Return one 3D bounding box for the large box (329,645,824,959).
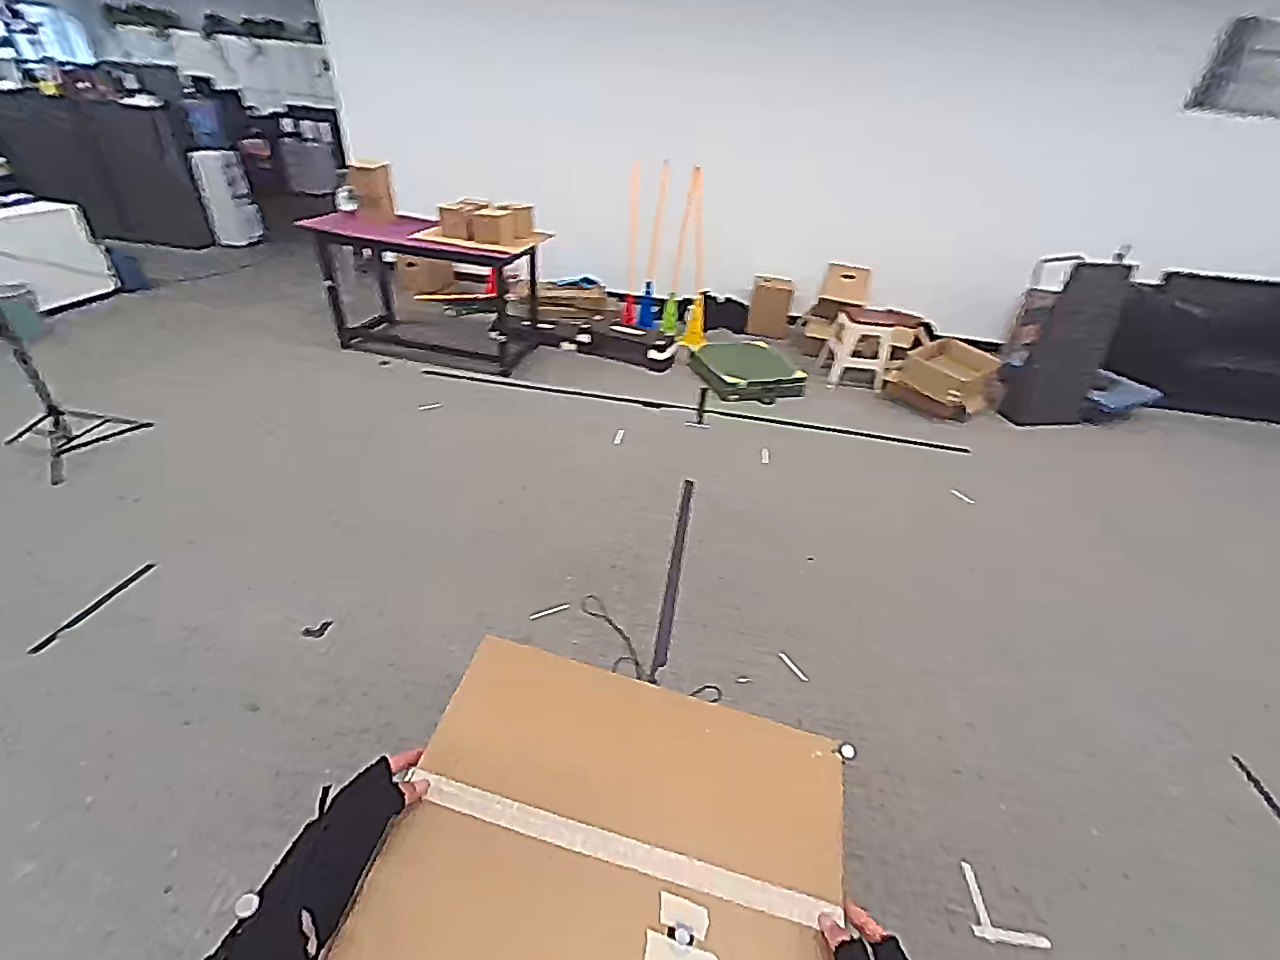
[{"bbox_3d":[-0.046,0.441,0.607,0.408,0.320,0.320,15,47,4],"label":"large box"}]
